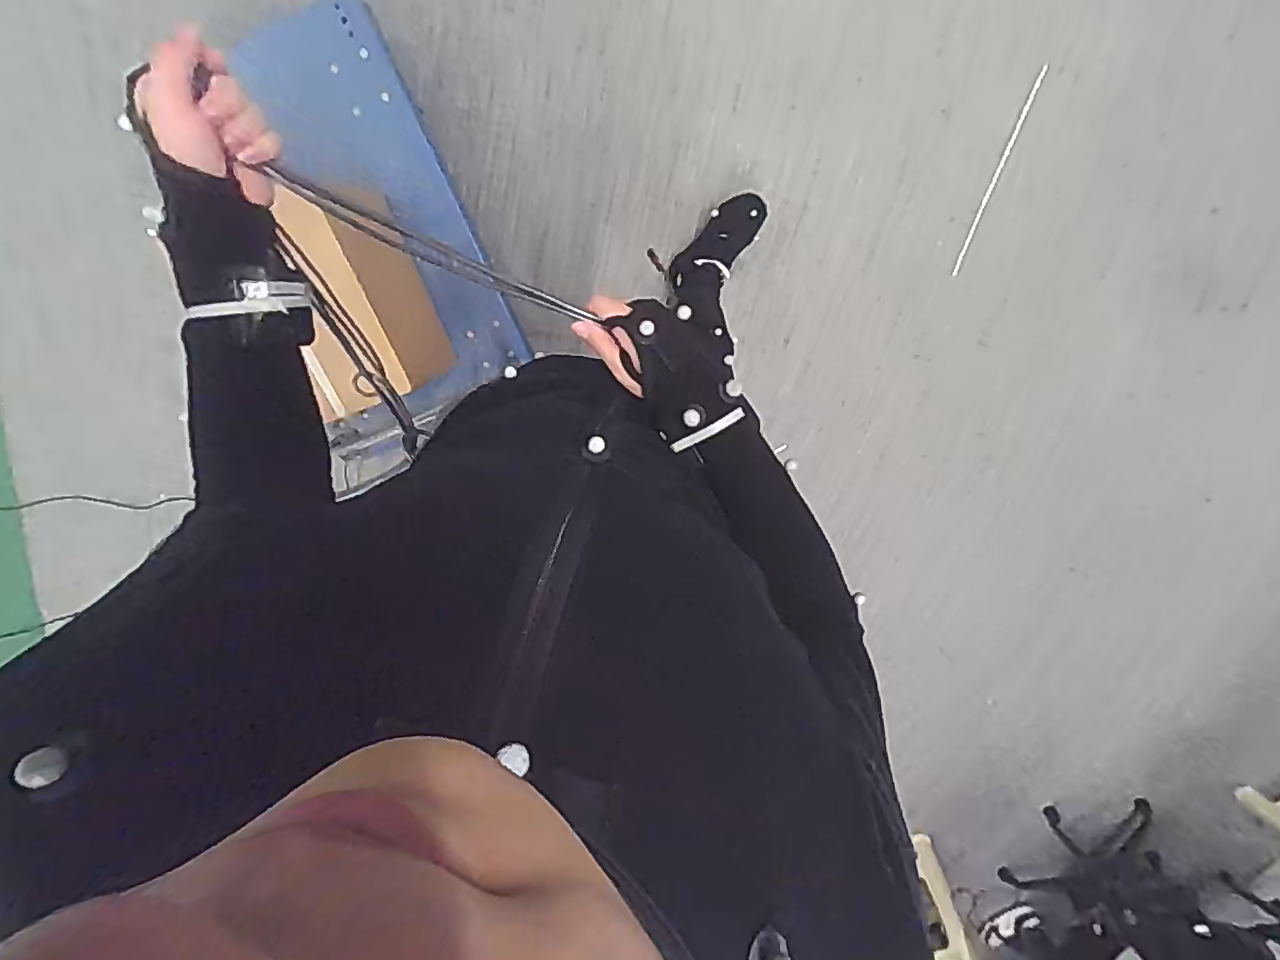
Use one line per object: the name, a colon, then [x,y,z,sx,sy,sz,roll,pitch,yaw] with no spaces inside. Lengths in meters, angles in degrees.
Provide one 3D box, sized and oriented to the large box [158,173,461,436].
large box: [-0.643,-0.360,1.142,0.320,0.320,0.408,-18,111,7]
